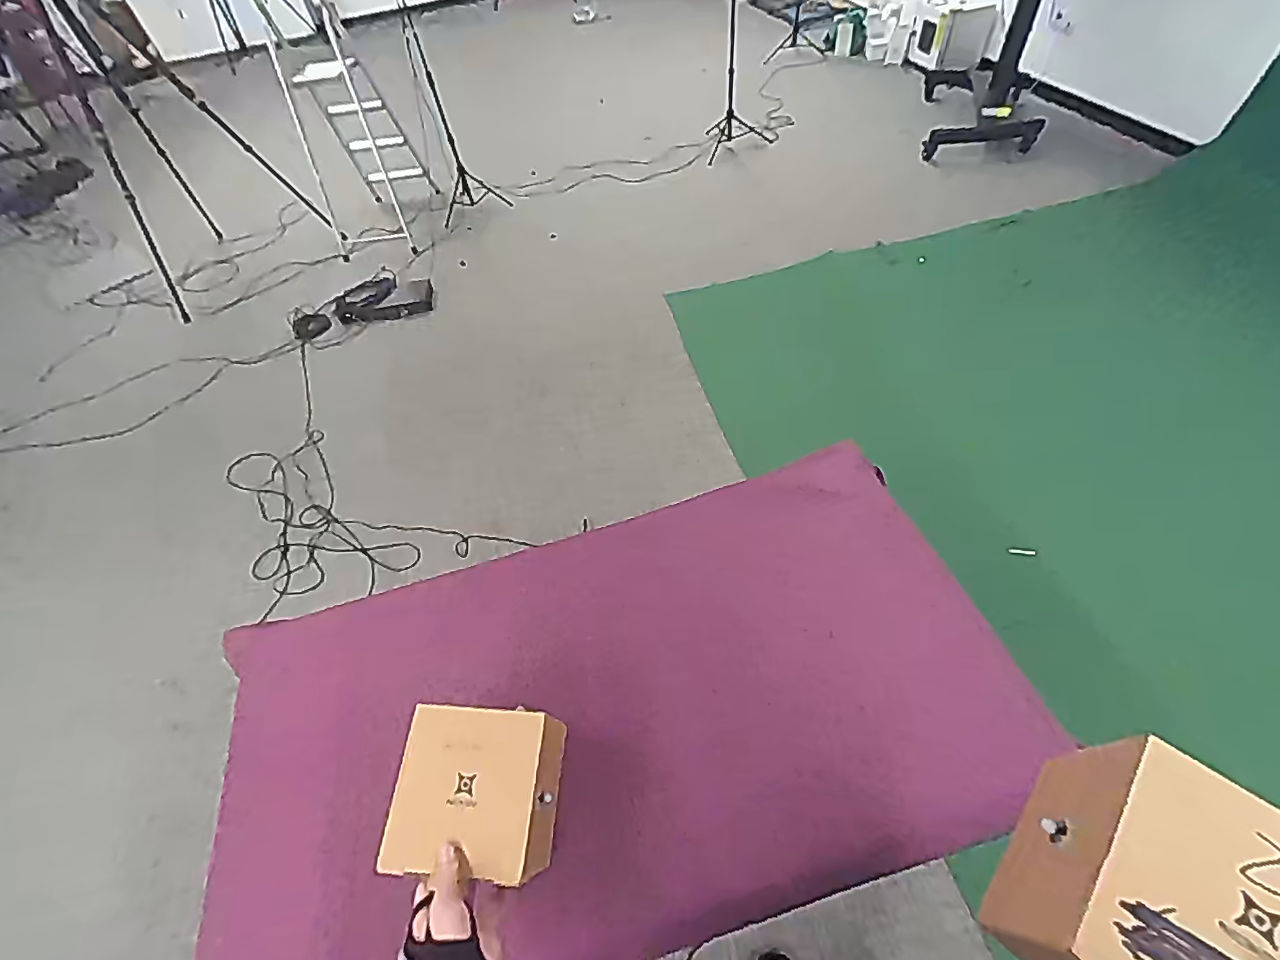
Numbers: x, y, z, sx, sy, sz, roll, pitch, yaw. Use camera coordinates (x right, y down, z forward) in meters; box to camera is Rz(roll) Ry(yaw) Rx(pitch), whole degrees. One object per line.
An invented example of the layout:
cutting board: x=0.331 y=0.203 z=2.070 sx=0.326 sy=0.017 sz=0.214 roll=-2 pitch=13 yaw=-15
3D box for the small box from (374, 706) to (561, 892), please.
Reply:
small box: x=-0.204 y=0.401 z=0.699 sx=0.168 sy=0.176 sz=0.179 roll=3 pitch=61 yaw=4
